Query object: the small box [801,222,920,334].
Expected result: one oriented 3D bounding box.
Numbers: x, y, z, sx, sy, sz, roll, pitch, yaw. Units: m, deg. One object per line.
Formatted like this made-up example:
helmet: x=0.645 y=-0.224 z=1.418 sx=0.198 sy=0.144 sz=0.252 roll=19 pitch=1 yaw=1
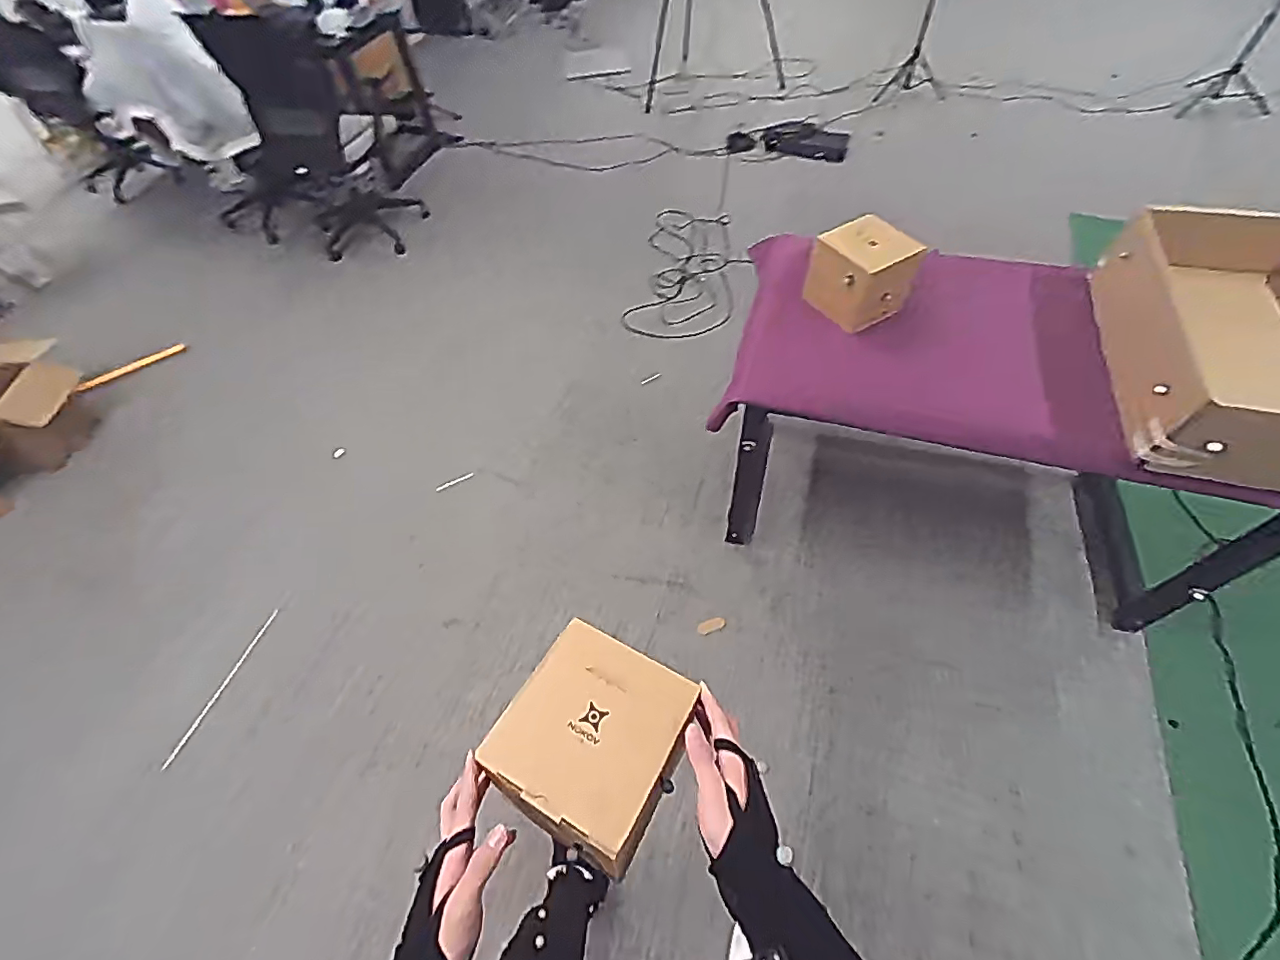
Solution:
small box: x=0.508 y=-0.468 z=1.274 sx=0.168 sy=0.176 sz=0.179 roll=-27 pitch=57 yaw=-16
